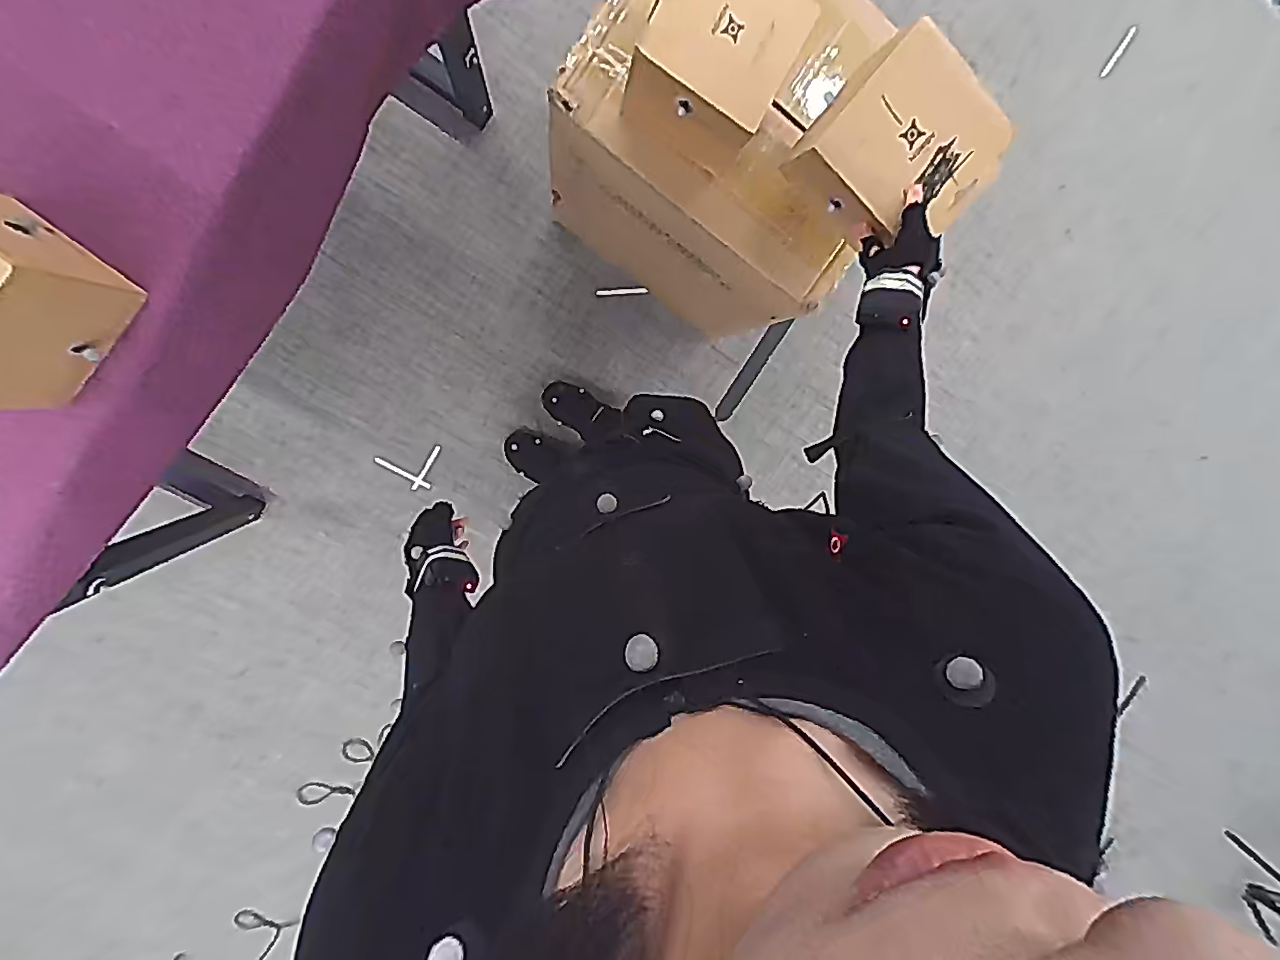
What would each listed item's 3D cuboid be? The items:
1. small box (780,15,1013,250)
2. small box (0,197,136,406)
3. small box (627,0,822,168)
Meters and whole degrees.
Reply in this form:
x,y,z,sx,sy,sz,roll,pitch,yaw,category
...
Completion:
x,y,z,sx,sy,sz,roll,pitch,yaw,category
0.310,-0.420,0.692,0.179,0.176,0.168,38,106,-14,small box
-0.690,-0.193,0.557,0.168,0.176,0.179,38,92,-12,small box
0.097,-0.554,0.718,0.179,0.176,0.168,27,98,-13,small box
